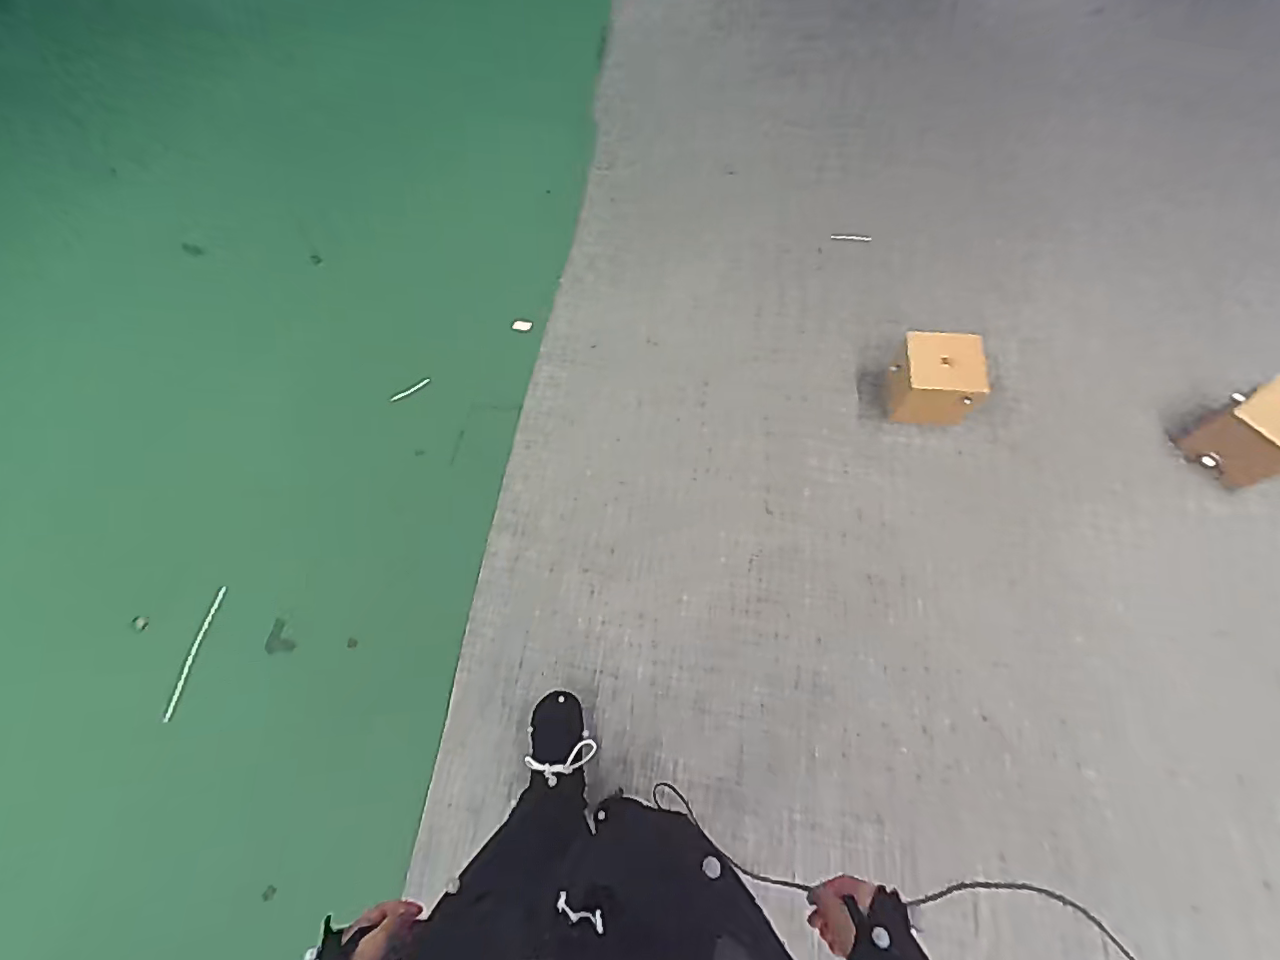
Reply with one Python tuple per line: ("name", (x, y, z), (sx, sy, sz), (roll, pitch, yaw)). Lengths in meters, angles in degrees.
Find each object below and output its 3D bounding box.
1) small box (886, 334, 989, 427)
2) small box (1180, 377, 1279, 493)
("small box", (0.730, -0.243, 1.353), (0.179, 0.176, 0.168), (4, 67, 5))
("small box", (1.424, -0.100, 1.242), (0.179, 0.176, 0.168), (-34, 68, -9))
